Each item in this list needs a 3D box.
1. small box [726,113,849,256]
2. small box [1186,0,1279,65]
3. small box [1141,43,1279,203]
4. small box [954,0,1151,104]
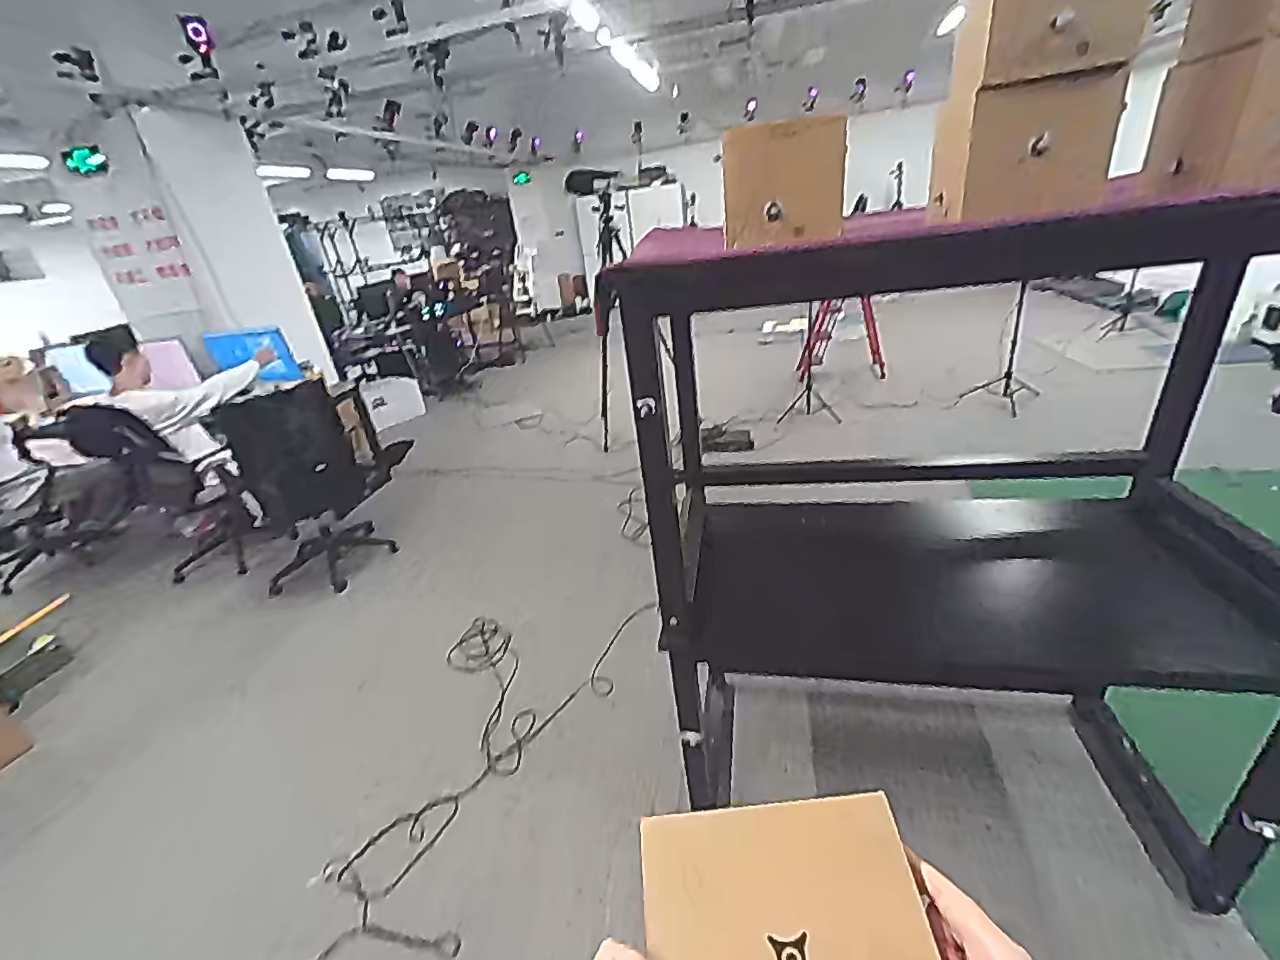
[{"bbox_3d":[0.217,-0.444,0.836,0.168,0.176,0.179,-2,25,9],"label":"small box"},{"bbox_3d":[0.808,-0.613,0.636,0.168,0.176,0.179,-1,28,17],"label":"small box"},{"bbox_3d":[0.820,-0.468,0.711,0.168,0.176,0.179,-1,28,14],"label":"small box"},{"bbox_3d":[0.521,-0.604,0.696,0.168,0.176,0.179,0,28,16],"label":"small box"}]
